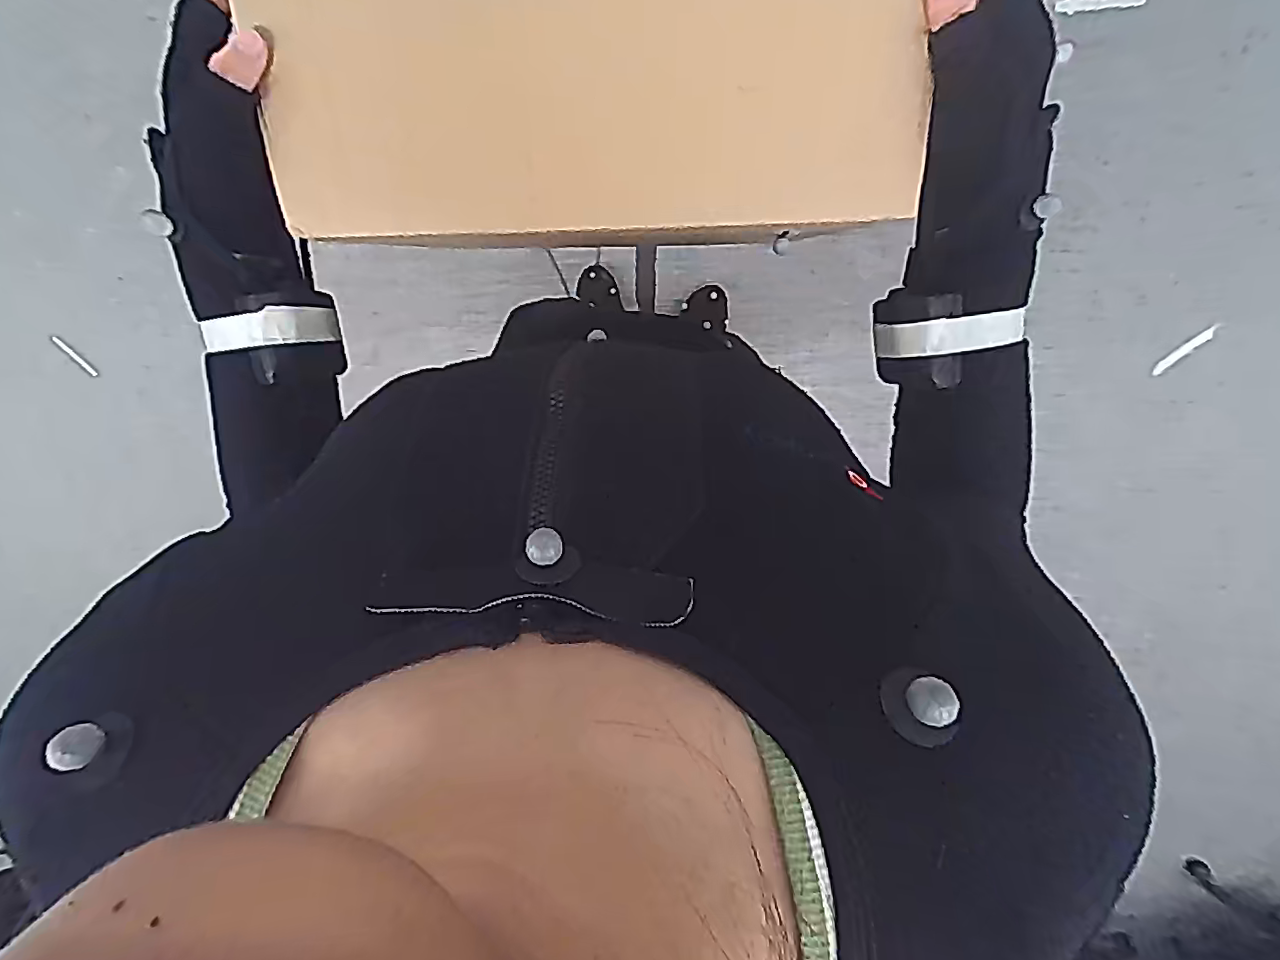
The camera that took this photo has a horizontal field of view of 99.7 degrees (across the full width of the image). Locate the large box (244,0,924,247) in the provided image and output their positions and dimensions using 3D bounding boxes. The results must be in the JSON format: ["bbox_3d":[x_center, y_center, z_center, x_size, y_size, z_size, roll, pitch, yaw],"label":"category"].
[{"bbox_3d":[-0.030,-0.366,0.440,0.408,0.320,0.320,-1,111,2],"label":"large box"}]
